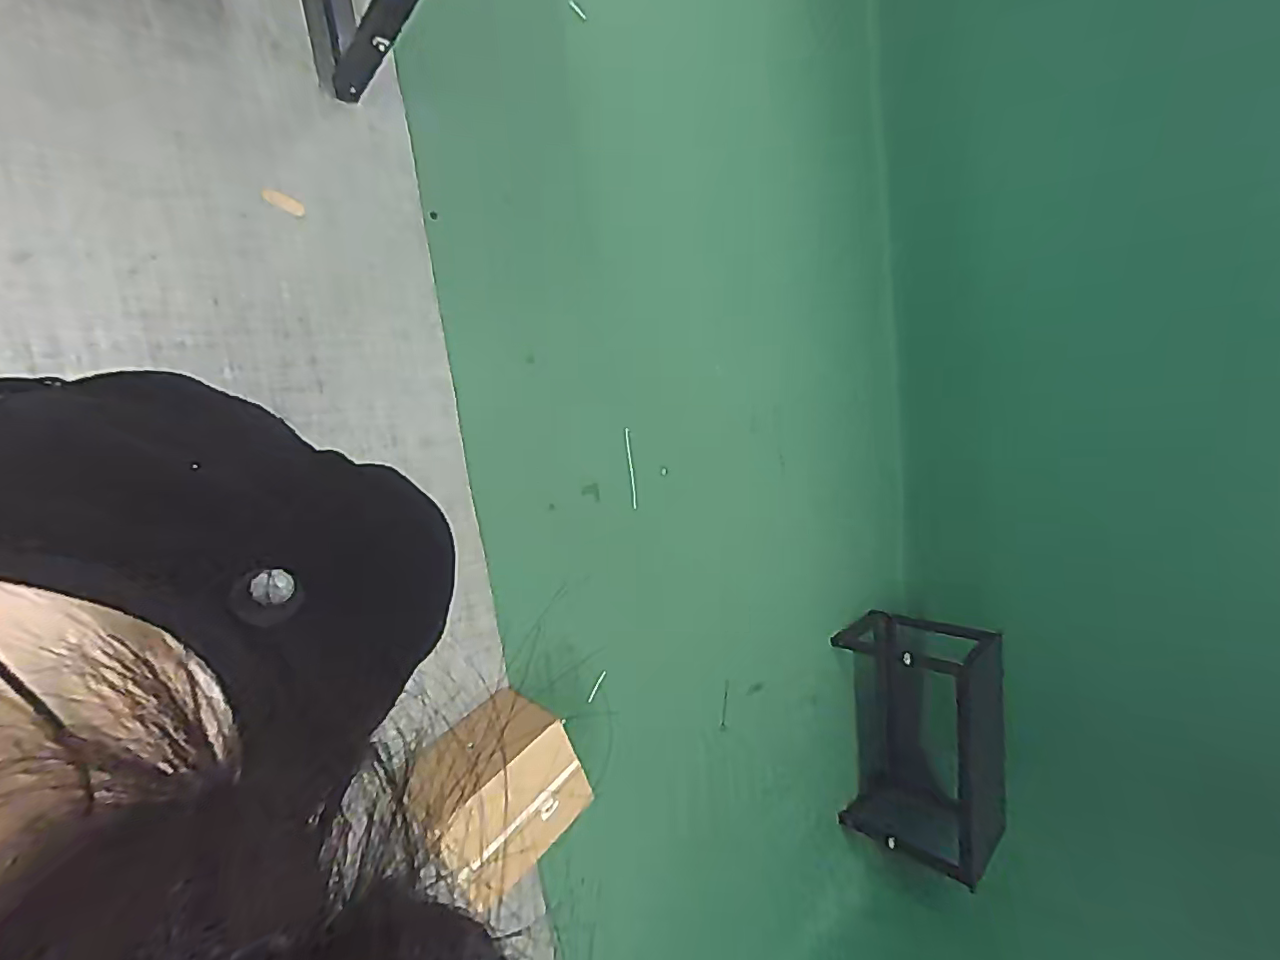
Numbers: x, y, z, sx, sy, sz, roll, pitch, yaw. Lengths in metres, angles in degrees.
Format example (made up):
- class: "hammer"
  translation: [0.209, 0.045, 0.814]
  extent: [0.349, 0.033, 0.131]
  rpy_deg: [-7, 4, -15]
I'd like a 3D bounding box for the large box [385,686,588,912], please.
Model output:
- class: "large box"
  translation: [-0.431, 0.876, 1.549]
  extent: [0.408, 0.320, 0.320]
  rpy_deg: [-33, 114, -39]
